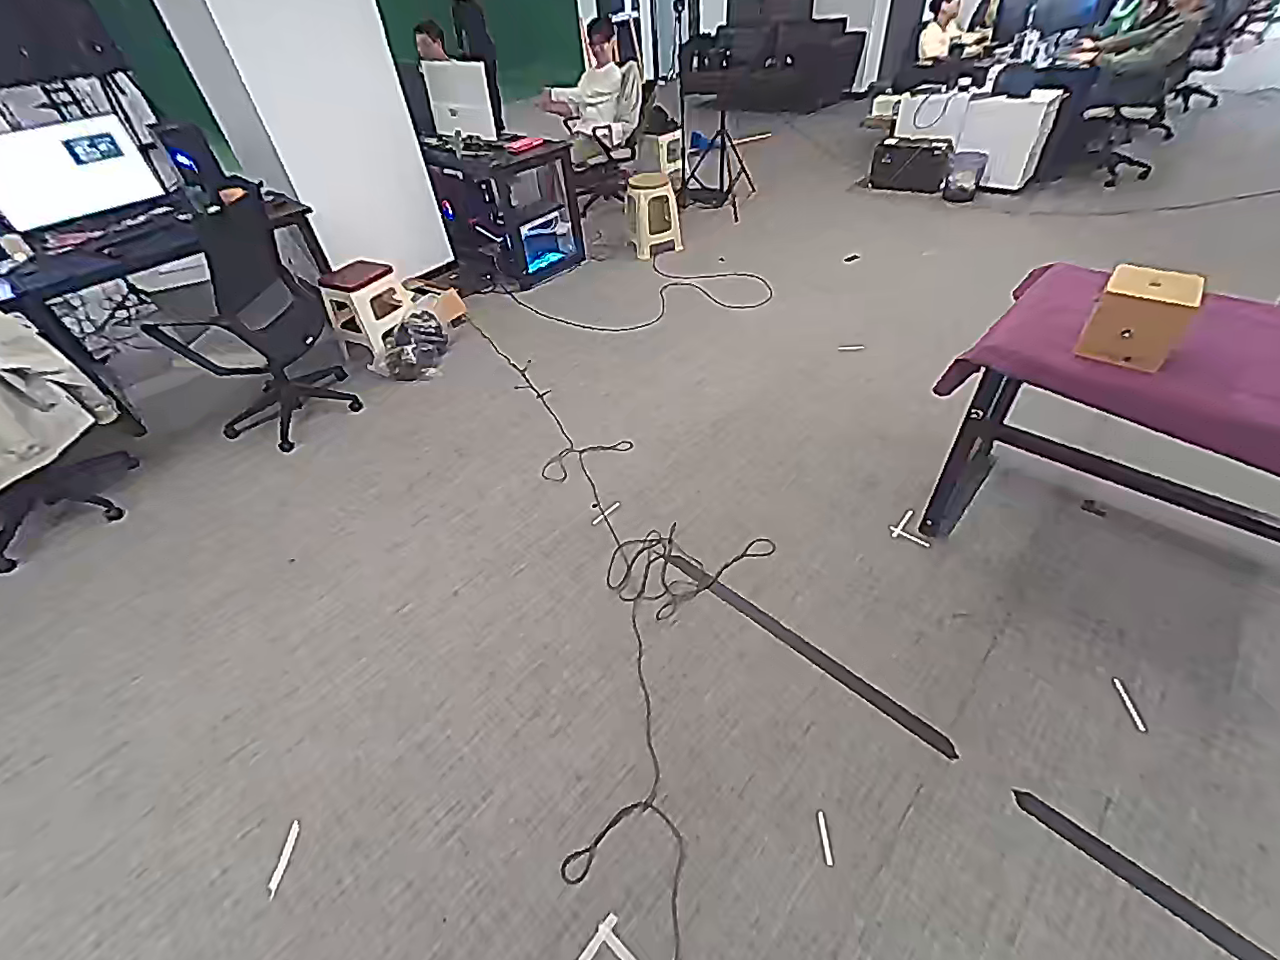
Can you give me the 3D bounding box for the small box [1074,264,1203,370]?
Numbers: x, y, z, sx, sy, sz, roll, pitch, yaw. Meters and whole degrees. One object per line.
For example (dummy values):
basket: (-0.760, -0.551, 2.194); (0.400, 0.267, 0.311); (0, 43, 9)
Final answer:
small box: (1.169, -0.384, 1.278); (0.168, 0.176, 0.179); (27, 52, 29)
